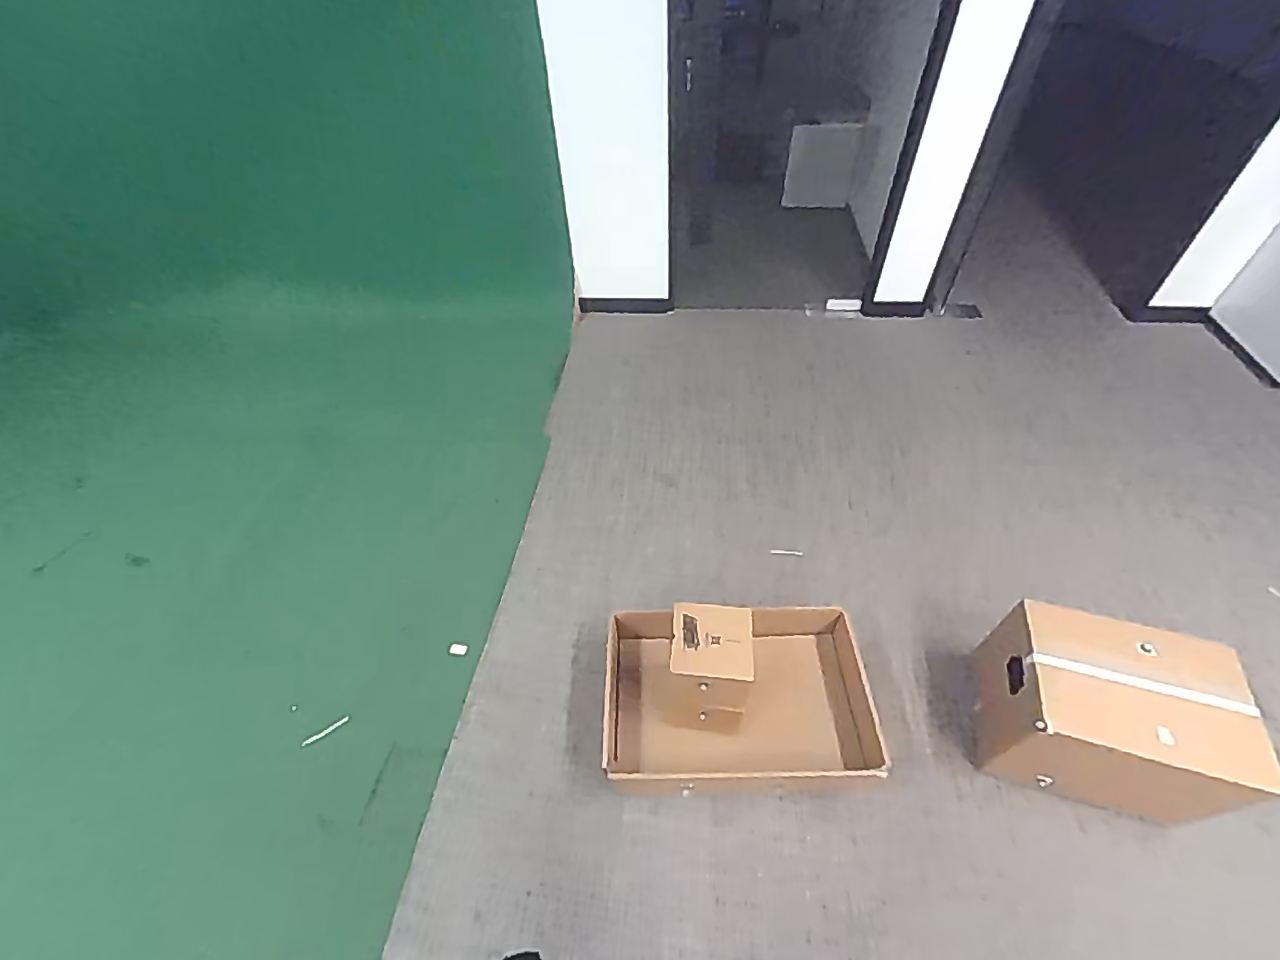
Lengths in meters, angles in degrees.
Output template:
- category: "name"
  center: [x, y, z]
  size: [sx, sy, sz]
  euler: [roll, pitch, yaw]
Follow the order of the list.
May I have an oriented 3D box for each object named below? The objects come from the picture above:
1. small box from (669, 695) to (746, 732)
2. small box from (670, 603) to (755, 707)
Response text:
- category: "small box"
  center: [0.166, 0.509, 1.341]
  size: [0.179, 0.176, 0.168]
  euler: [5, 49, 5]
- category: "small box"
  center: [0.159, 0.398, 1.221]
  size: [0.179, 0.176, 0.168]
  euler: [5, 49, 4]
